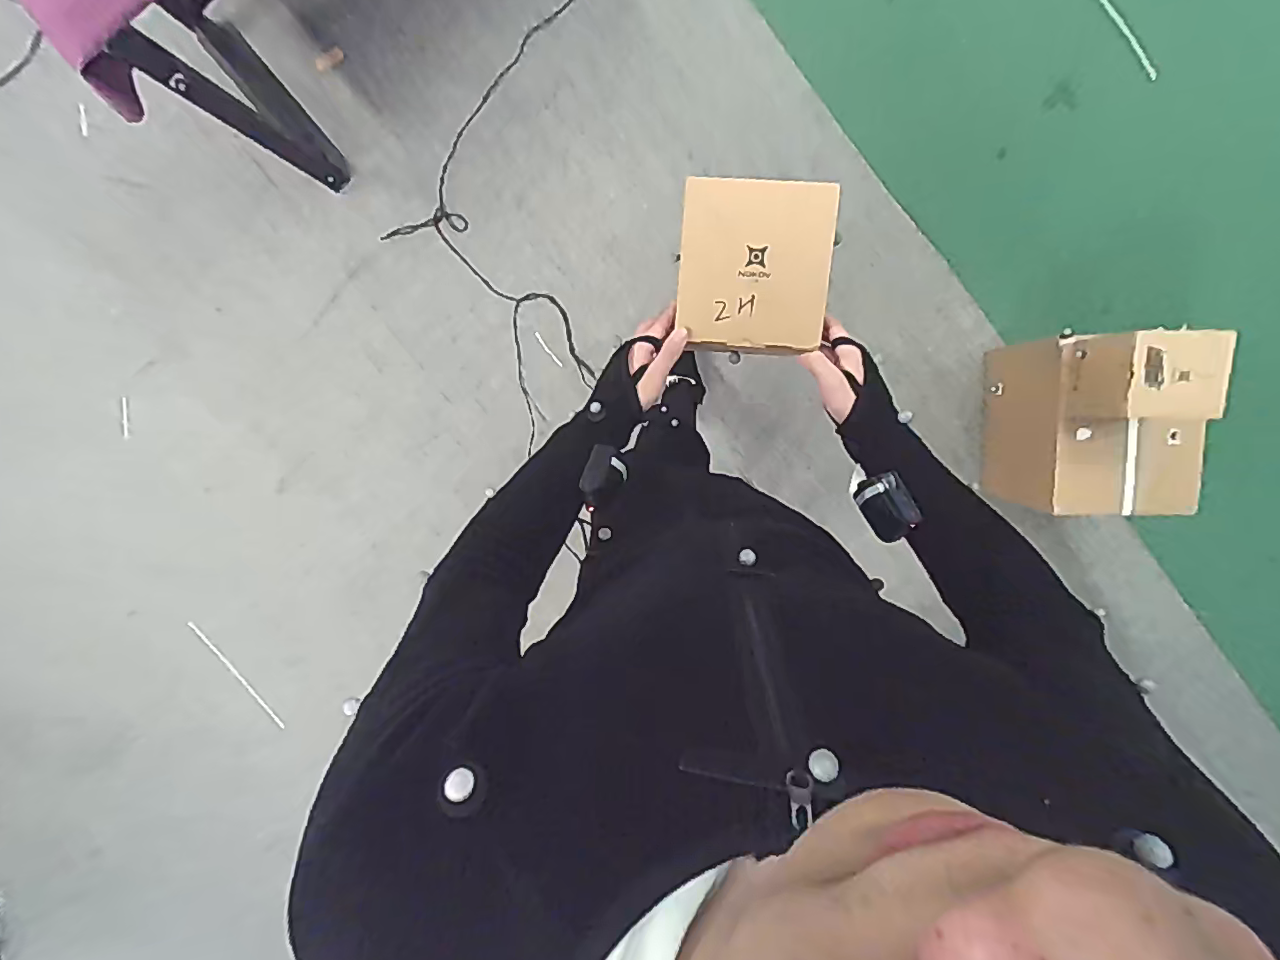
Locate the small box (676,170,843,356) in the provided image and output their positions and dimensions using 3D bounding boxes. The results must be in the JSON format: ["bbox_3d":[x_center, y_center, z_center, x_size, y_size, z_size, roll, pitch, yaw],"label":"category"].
[{"bbox_3d":[0.133,-0.253,0.668,0.168,0.176,0.179,5,100,3],"label":"small box"}]

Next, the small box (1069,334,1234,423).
[{"bbox_3d":[1.024,-0.202,1.102,0.179,0.176,0.168,1,98,4],"label":"small box"}]
